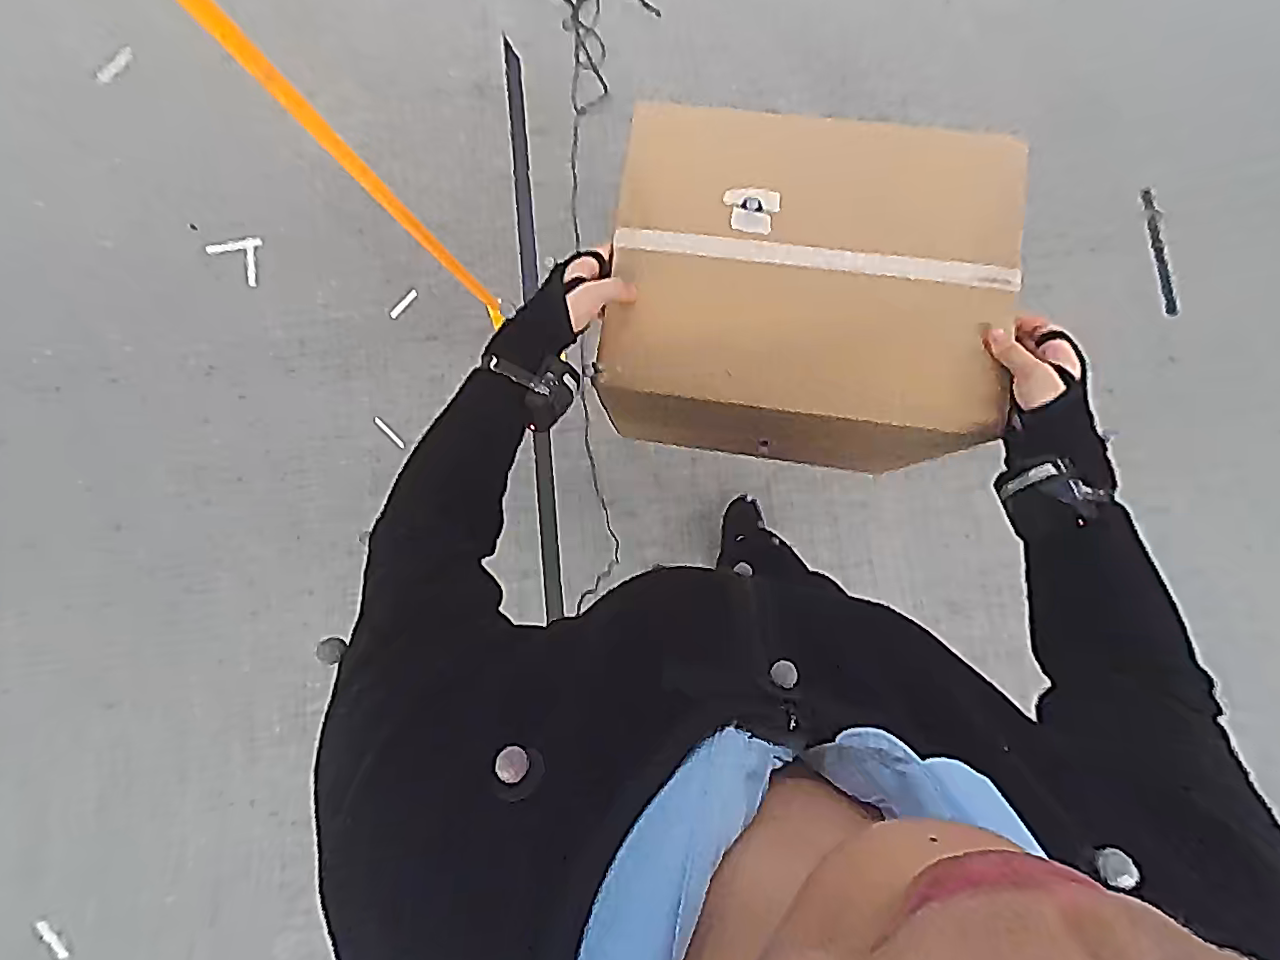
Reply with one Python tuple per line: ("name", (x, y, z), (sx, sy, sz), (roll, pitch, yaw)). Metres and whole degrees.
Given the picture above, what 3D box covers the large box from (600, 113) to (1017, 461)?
("large box", (0.186, -0.213, 0.705), (0.408, 0.320, 0.320), (8, 83, 5))
